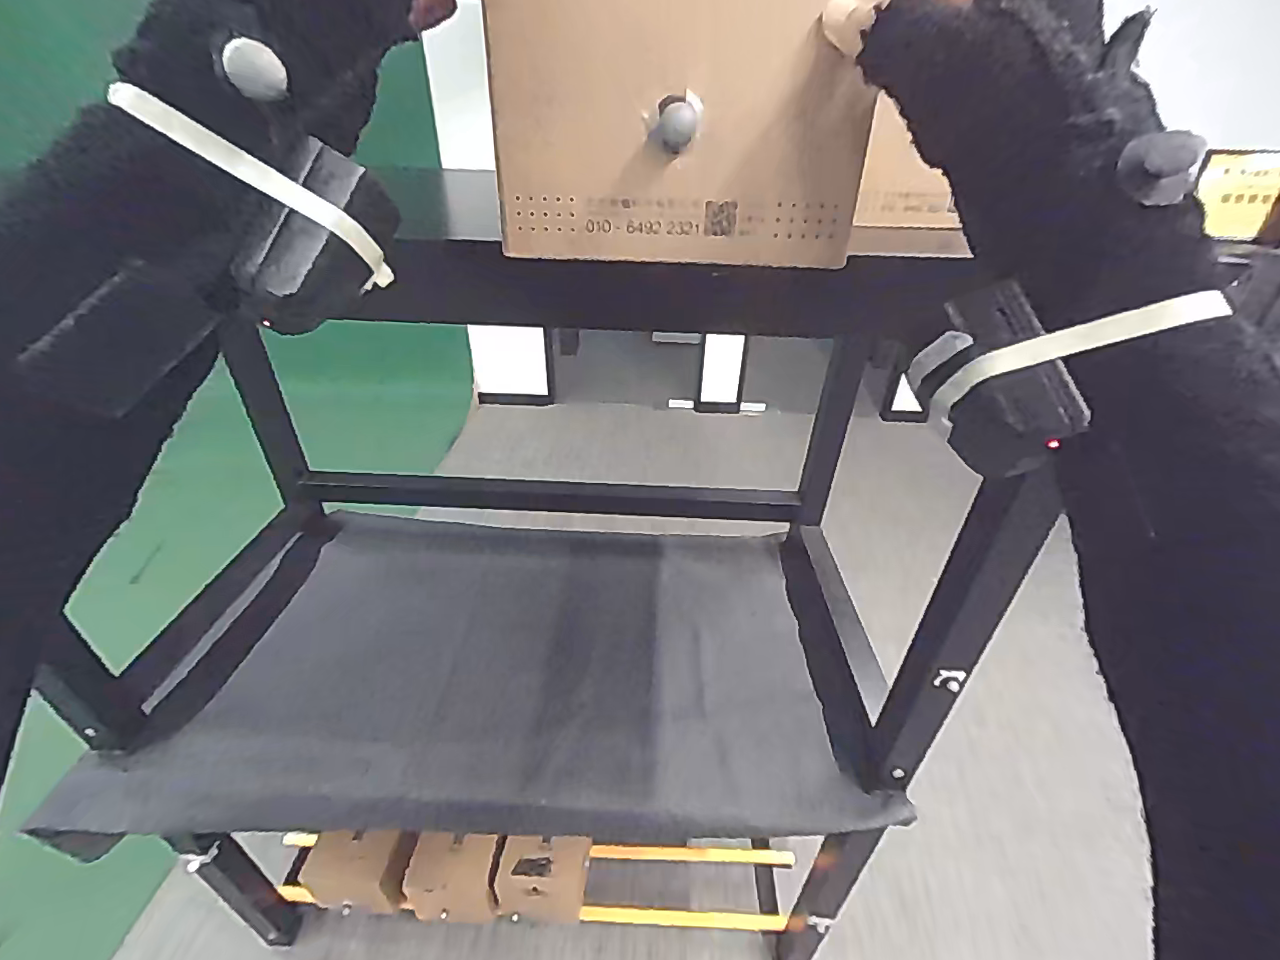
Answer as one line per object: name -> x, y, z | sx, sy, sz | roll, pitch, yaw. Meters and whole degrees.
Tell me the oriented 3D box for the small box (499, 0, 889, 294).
small box -> 0.023, -0.211, 0.305 | 0.168, 0.176, 0.179 | 3, 29, 3
